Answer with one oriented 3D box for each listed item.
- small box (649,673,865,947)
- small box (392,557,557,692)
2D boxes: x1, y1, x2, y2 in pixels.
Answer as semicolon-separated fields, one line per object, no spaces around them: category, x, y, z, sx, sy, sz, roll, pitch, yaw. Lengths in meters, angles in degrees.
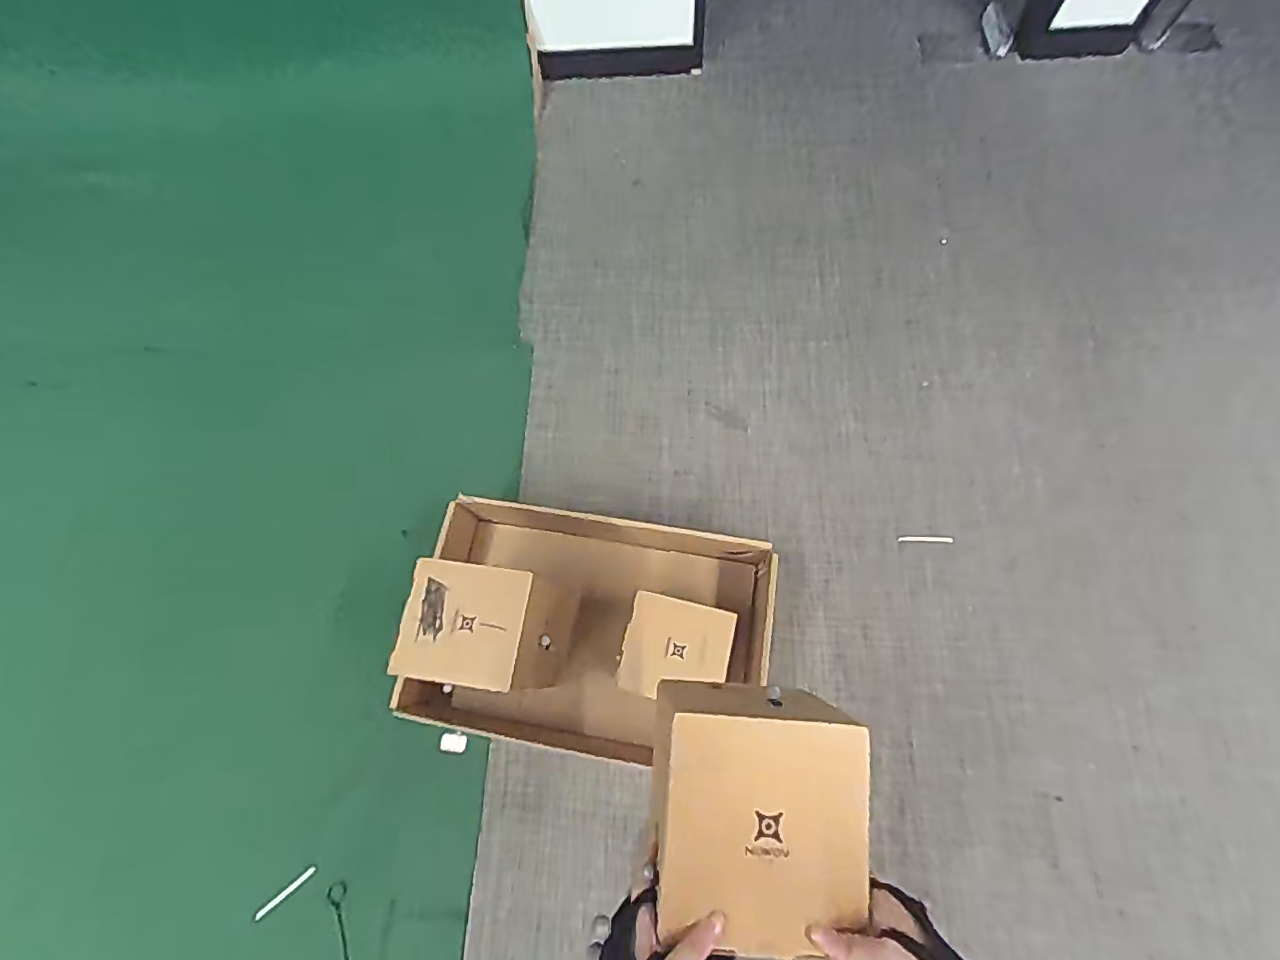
small box;0.099;0.293;0.521;0.168;0.176;0.179;5;81;-1
small box;-0.240;0.225;0.830;0.179;0.176;0.168;7;71;4
